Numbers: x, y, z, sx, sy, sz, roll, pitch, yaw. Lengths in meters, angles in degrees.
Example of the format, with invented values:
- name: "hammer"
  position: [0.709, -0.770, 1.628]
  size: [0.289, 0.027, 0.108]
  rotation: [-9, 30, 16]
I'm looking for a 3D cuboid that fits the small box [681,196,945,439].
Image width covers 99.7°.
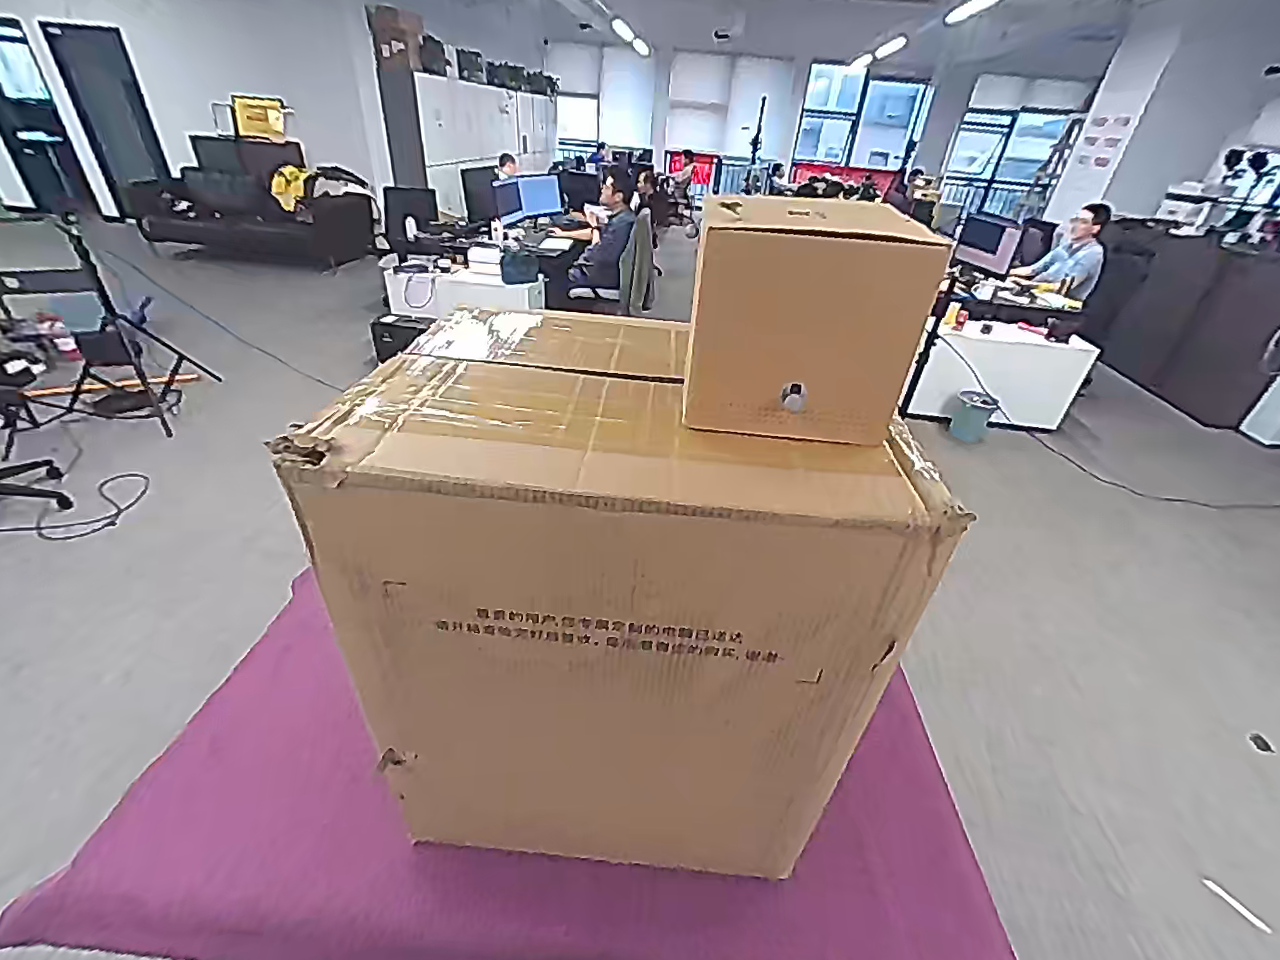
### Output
- name: "small box"
  position: [0.136, -0.151, 0.499]
  size: [0.179, 0.176, 0.168]
  rotation: [6, 34, 2]
